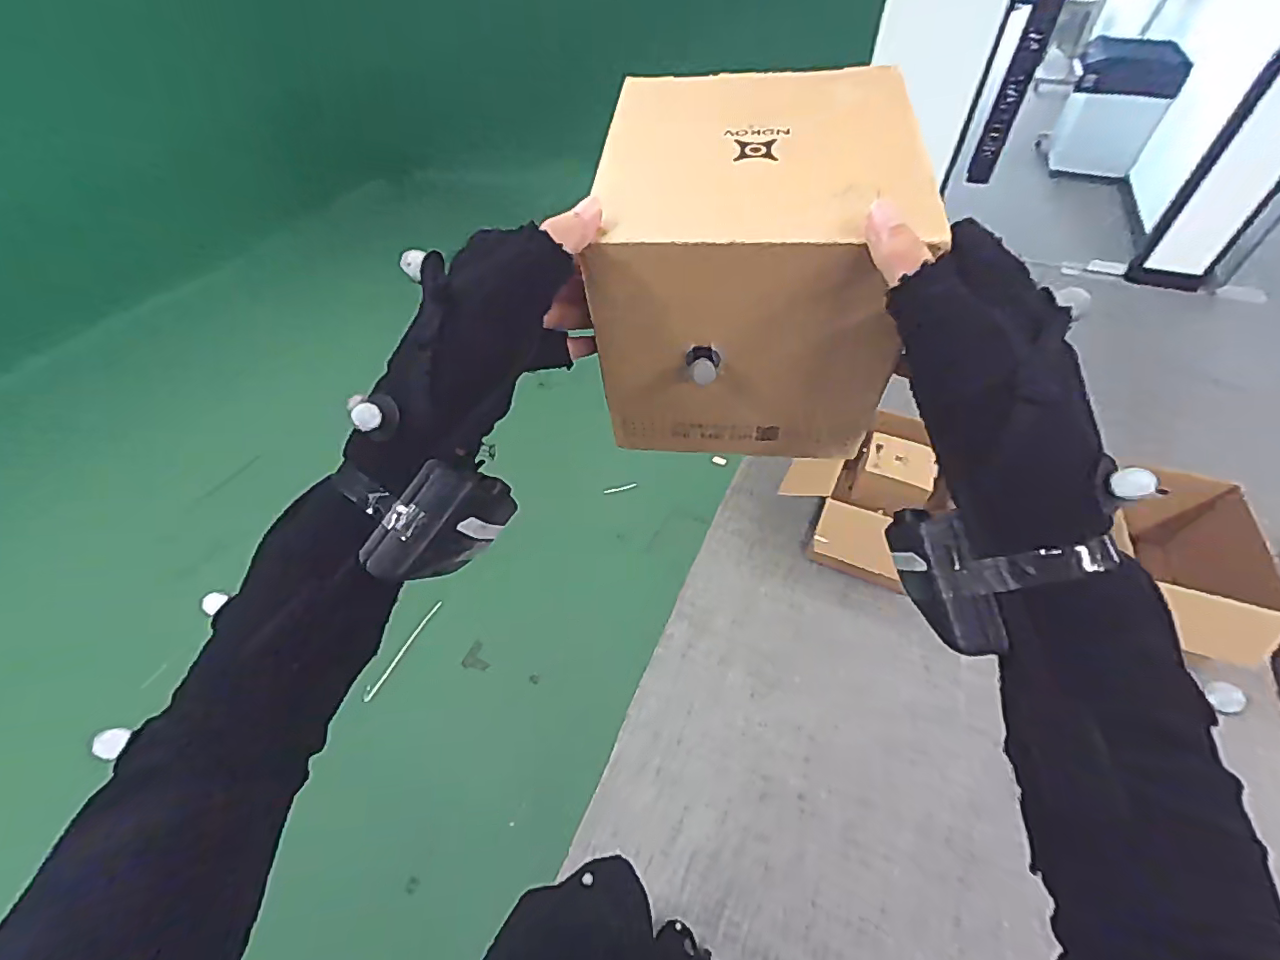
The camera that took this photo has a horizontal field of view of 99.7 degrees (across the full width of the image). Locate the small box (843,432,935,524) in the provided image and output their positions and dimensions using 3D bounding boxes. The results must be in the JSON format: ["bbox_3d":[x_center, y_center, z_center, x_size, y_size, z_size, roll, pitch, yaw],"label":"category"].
[{"bbox_3d":[0.700,0.000,1.529,0.179,0.176,0.168,21,51,14],"label":"small box"}]

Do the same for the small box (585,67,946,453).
[{"bbox_3d":[0.071,-0.133,0.356,0.168,0.176,0.179,3,56,8],"label":"small box"}]
